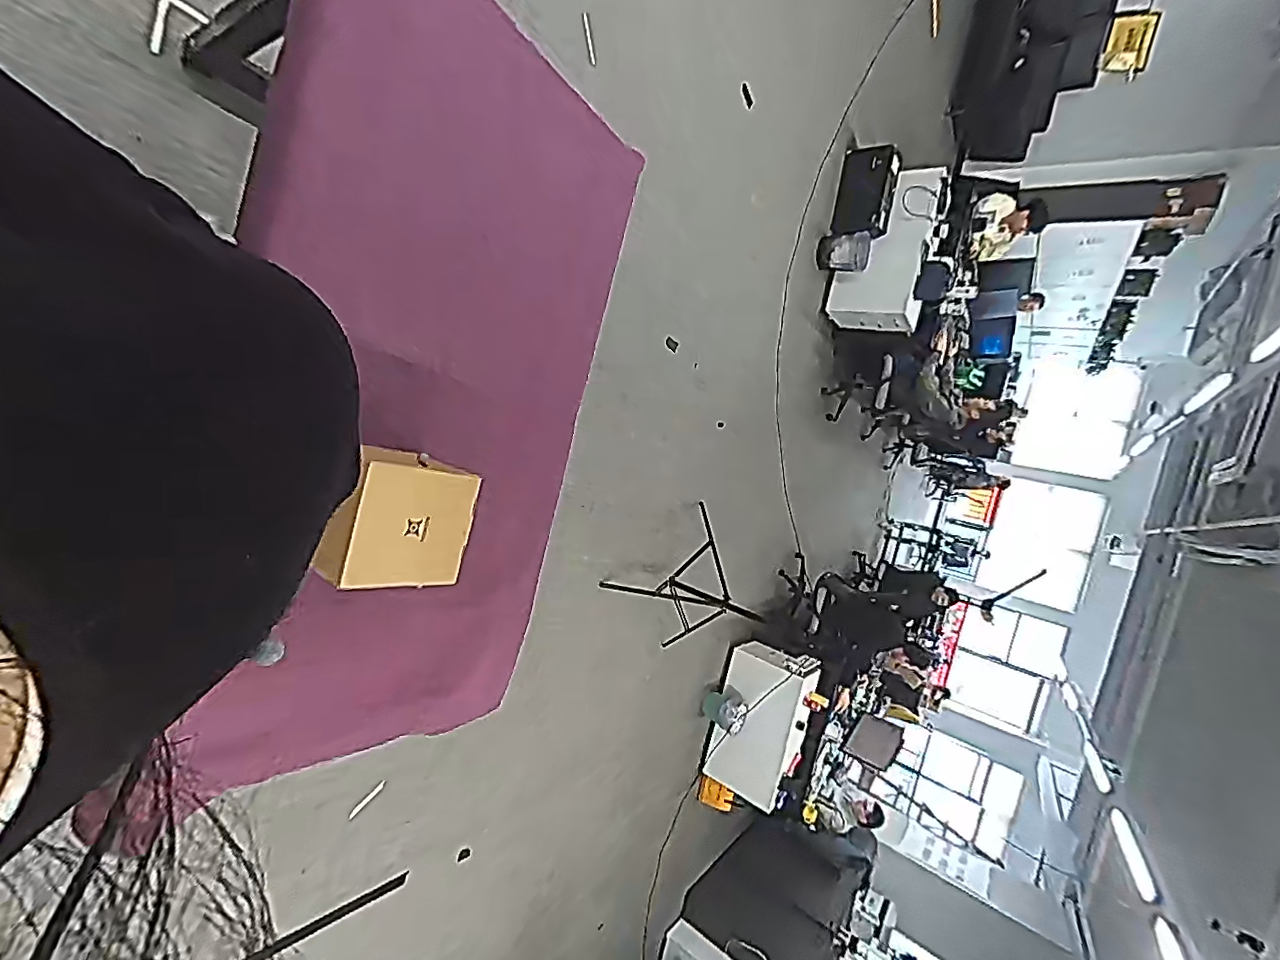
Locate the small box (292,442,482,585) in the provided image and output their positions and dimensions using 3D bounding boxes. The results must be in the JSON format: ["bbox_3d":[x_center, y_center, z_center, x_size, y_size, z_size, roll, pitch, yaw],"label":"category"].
[{"bbox_3d":[-0.367,0.047,0.784,0.179,0.176,0.168,12,93,-56],"label":"small box"}]
